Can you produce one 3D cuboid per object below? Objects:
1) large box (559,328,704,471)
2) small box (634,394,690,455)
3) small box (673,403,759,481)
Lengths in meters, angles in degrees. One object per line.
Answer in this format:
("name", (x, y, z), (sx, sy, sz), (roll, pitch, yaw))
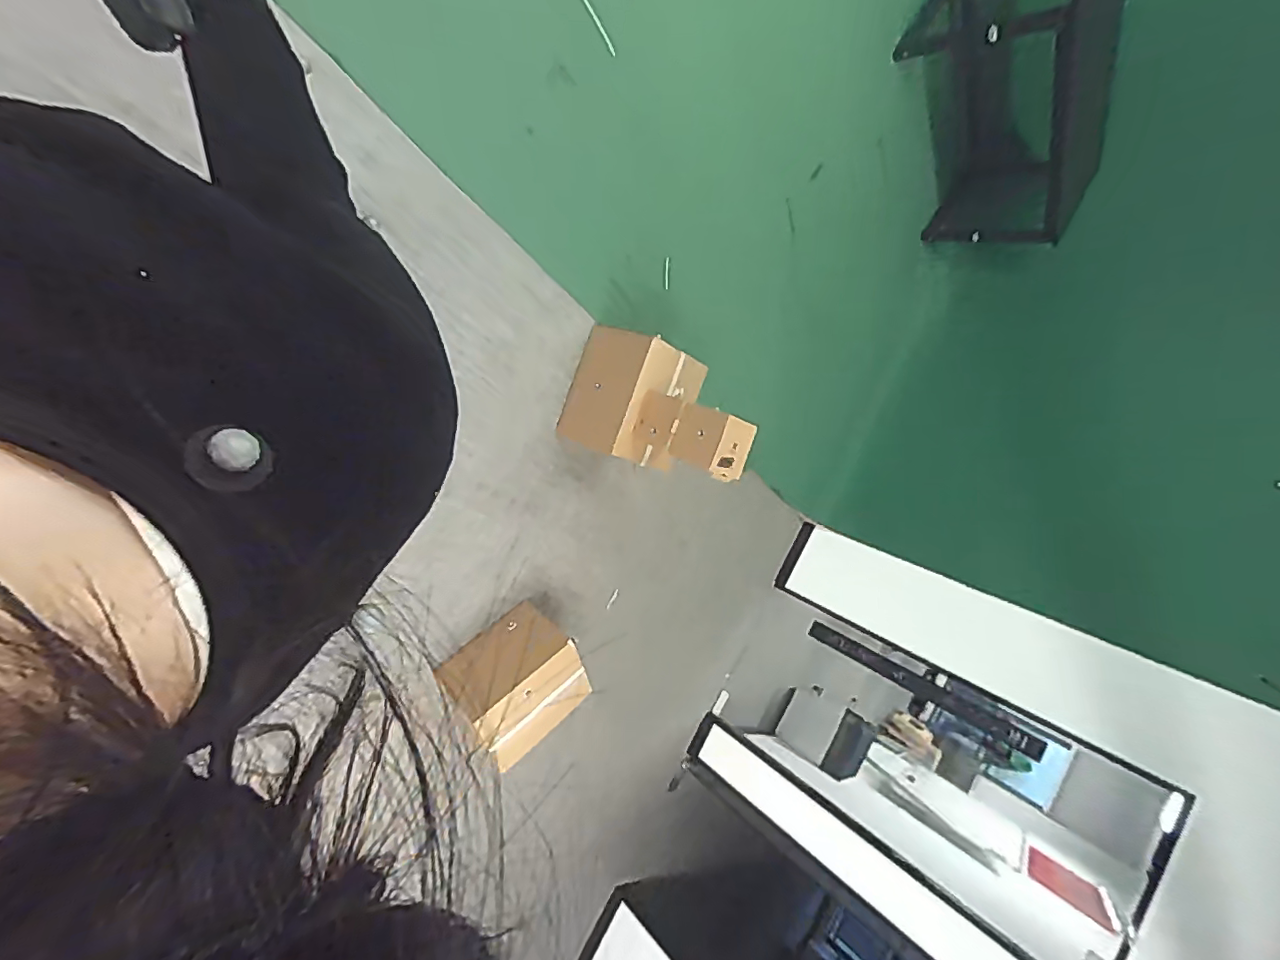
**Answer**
("large box", (-0.034, -0.282, 1.911), (0.320, 0.320, 0.408), (14, 96, -49))
("small box", (0.110, -0.170, 1.743), (0.179, 0.176, 0.168), (16, 97, -48))
("small box", (0.223, -0.116, 1.636), (0.168, 0.176, 0.179), (14, 98, -48))
